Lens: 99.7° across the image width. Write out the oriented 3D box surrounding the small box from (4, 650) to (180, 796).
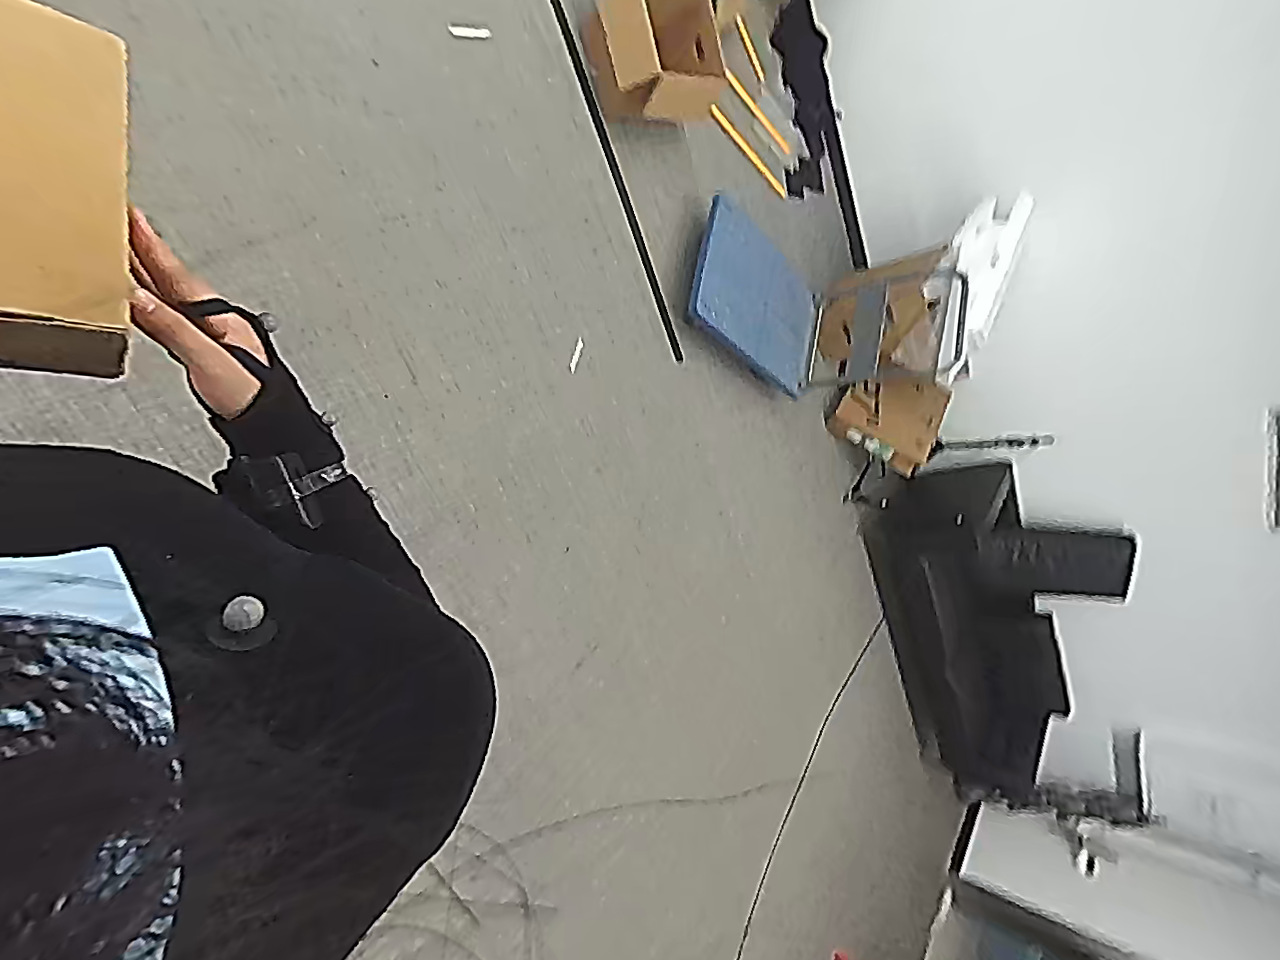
[{"bbox_3d":[-1.024,0.443,1.021,0.168,0.176,0.179,-39,116,-37],"label":"small box"}]
